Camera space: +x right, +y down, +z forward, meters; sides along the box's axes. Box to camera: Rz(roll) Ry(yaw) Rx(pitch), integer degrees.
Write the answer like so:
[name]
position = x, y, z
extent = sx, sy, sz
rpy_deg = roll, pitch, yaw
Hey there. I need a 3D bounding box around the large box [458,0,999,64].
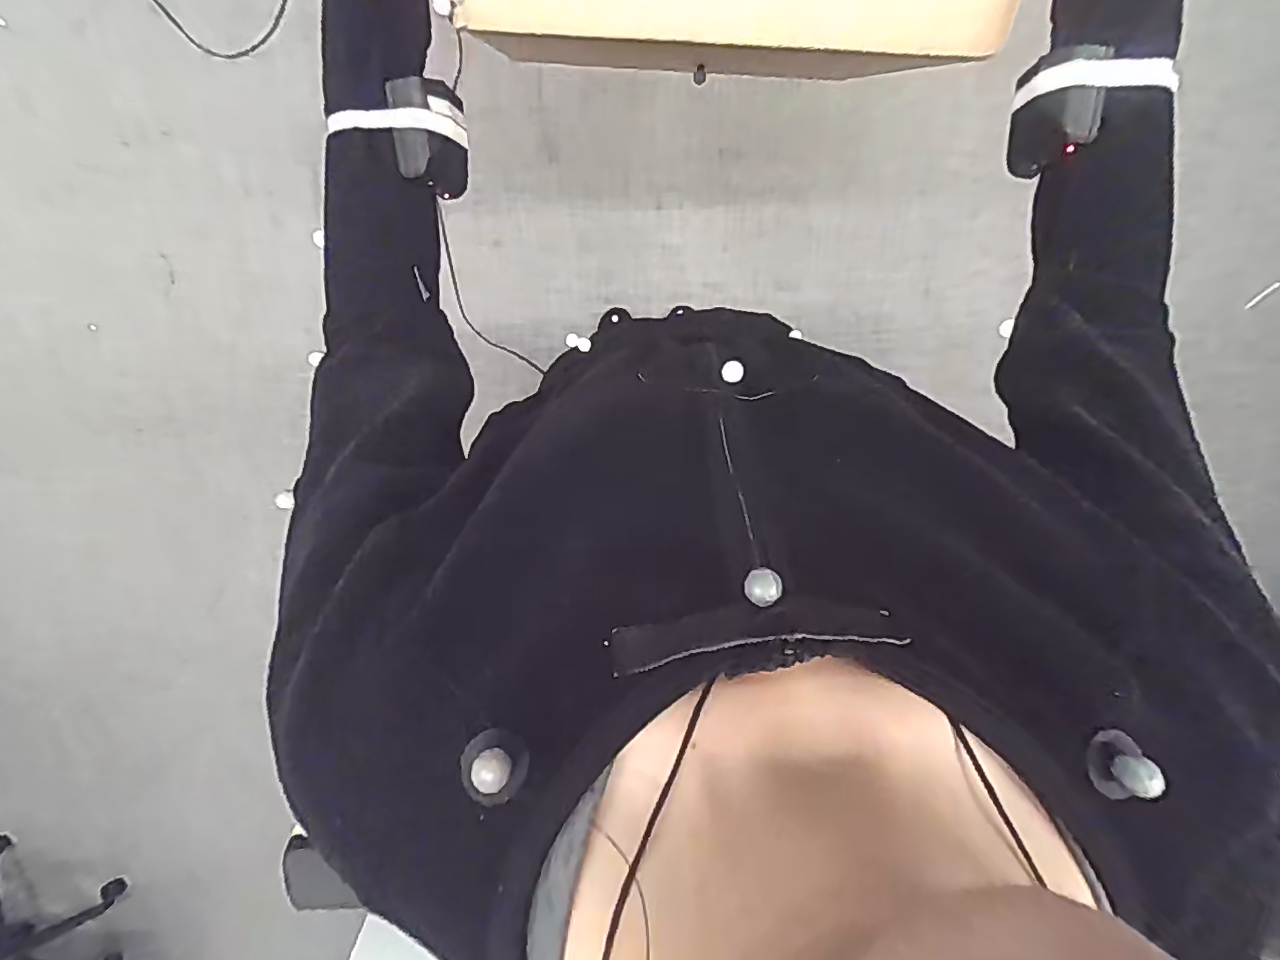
[large box]
position = 0.065, -0.538, 0.439
extent = 0.408, 0.320, 0.320
rpy_deg = 0, 124, -3
